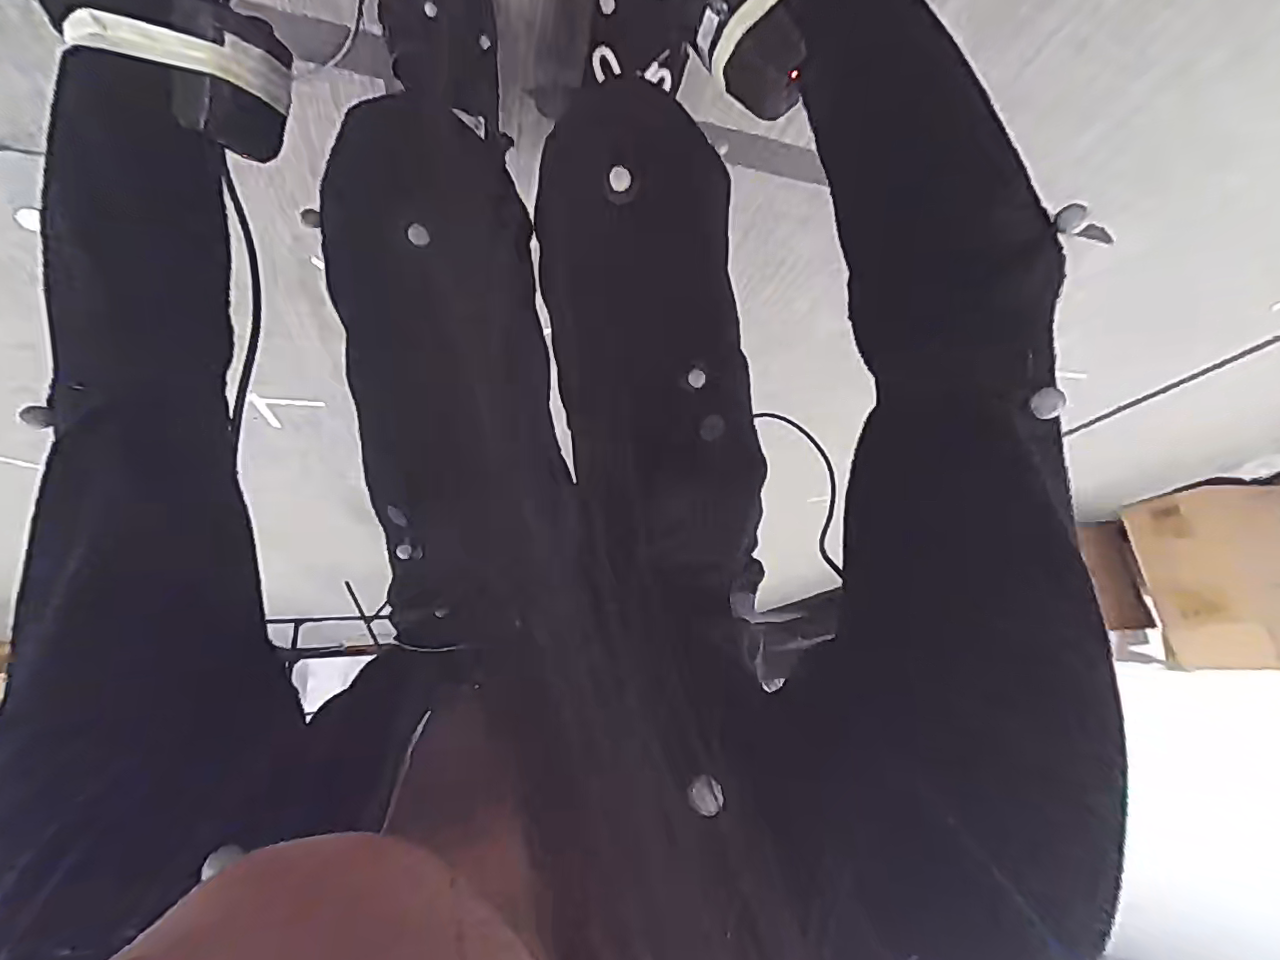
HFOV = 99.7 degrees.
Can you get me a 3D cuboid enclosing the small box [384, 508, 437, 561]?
[{"bbox_3d":[-0.881,0.214,2.089,0.168,0.176,0.179,1,159,-16],"label":"small box"}]
